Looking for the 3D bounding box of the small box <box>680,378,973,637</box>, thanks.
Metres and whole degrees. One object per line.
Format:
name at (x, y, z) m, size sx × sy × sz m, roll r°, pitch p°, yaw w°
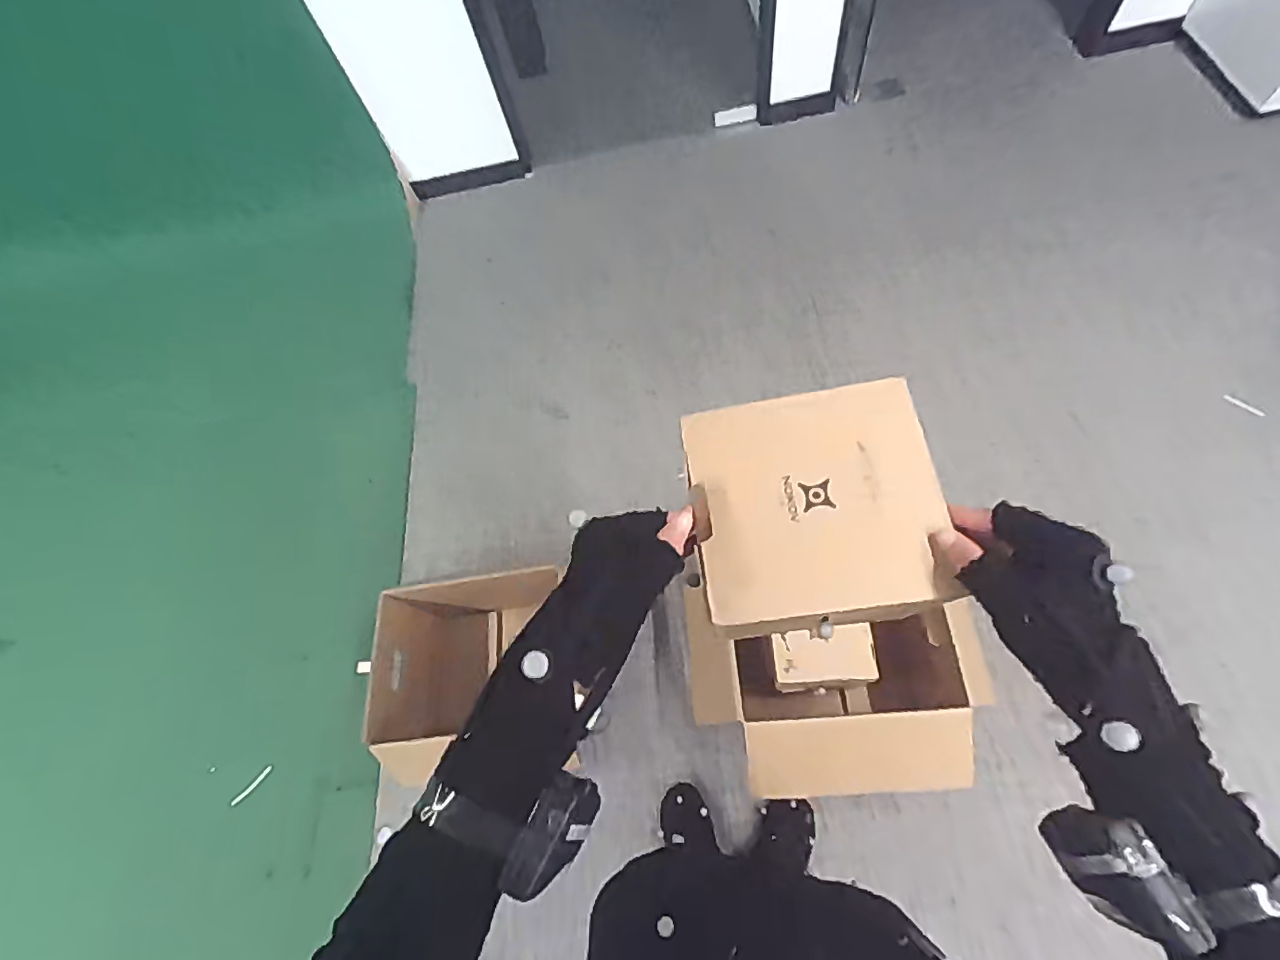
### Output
small box at (0.138, 0.038, 0.467) m, size 0.179 × 0.176 × 0.168 m, roll -11°, pitch 71°, yaw 5°
